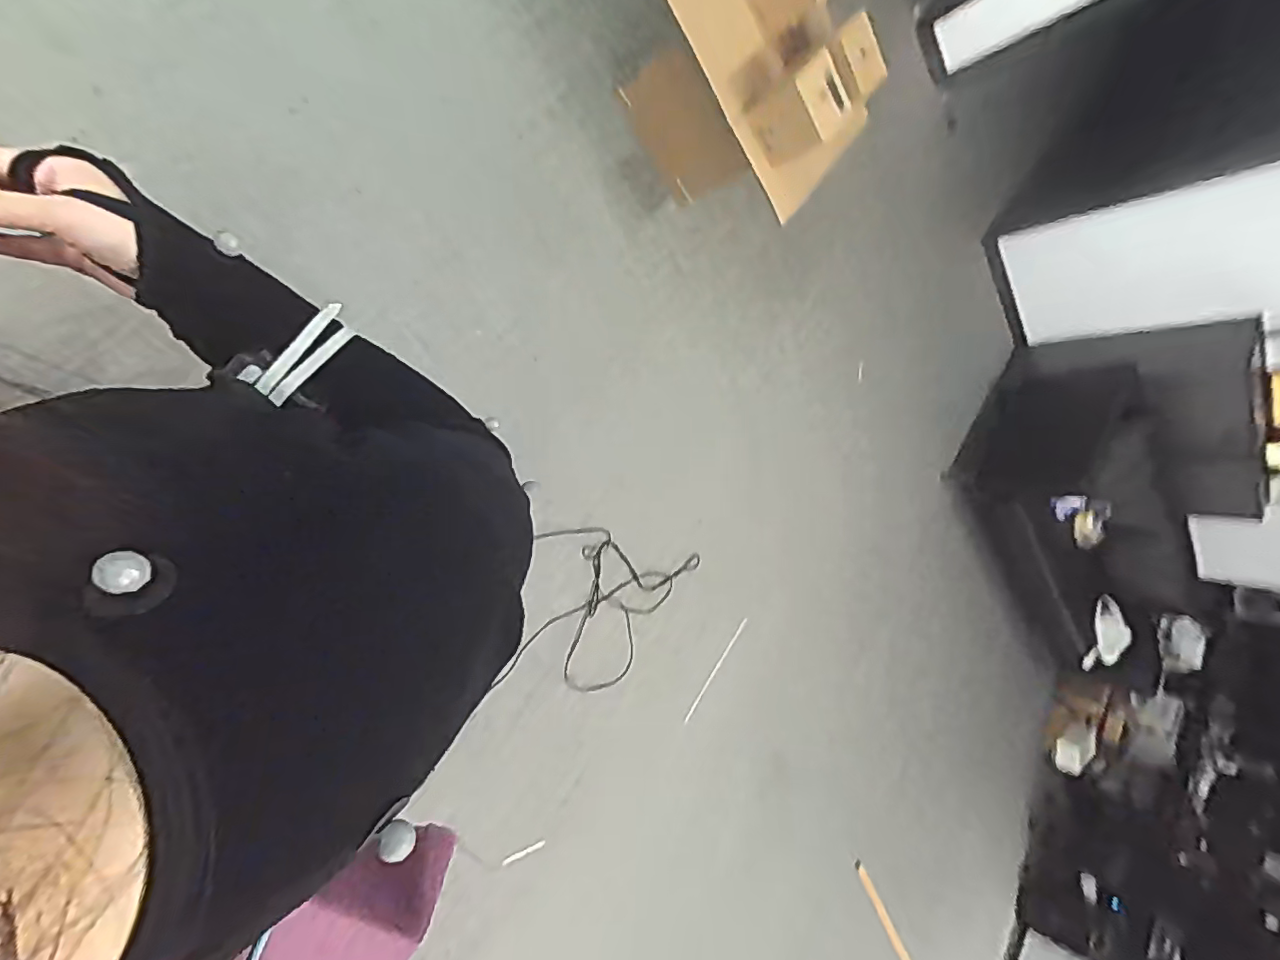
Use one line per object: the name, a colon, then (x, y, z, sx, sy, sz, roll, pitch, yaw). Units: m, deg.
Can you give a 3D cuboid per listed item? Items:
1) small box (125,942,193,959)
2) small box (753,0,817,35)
small box: (-0.528, 0.639, 0.553, 0.179, 0.176, 0.168, -47, 118, -22)
small box: (0.391, -1.292, 1.366, 0.168, 0.176, 0.179, 47, 66, -27)
